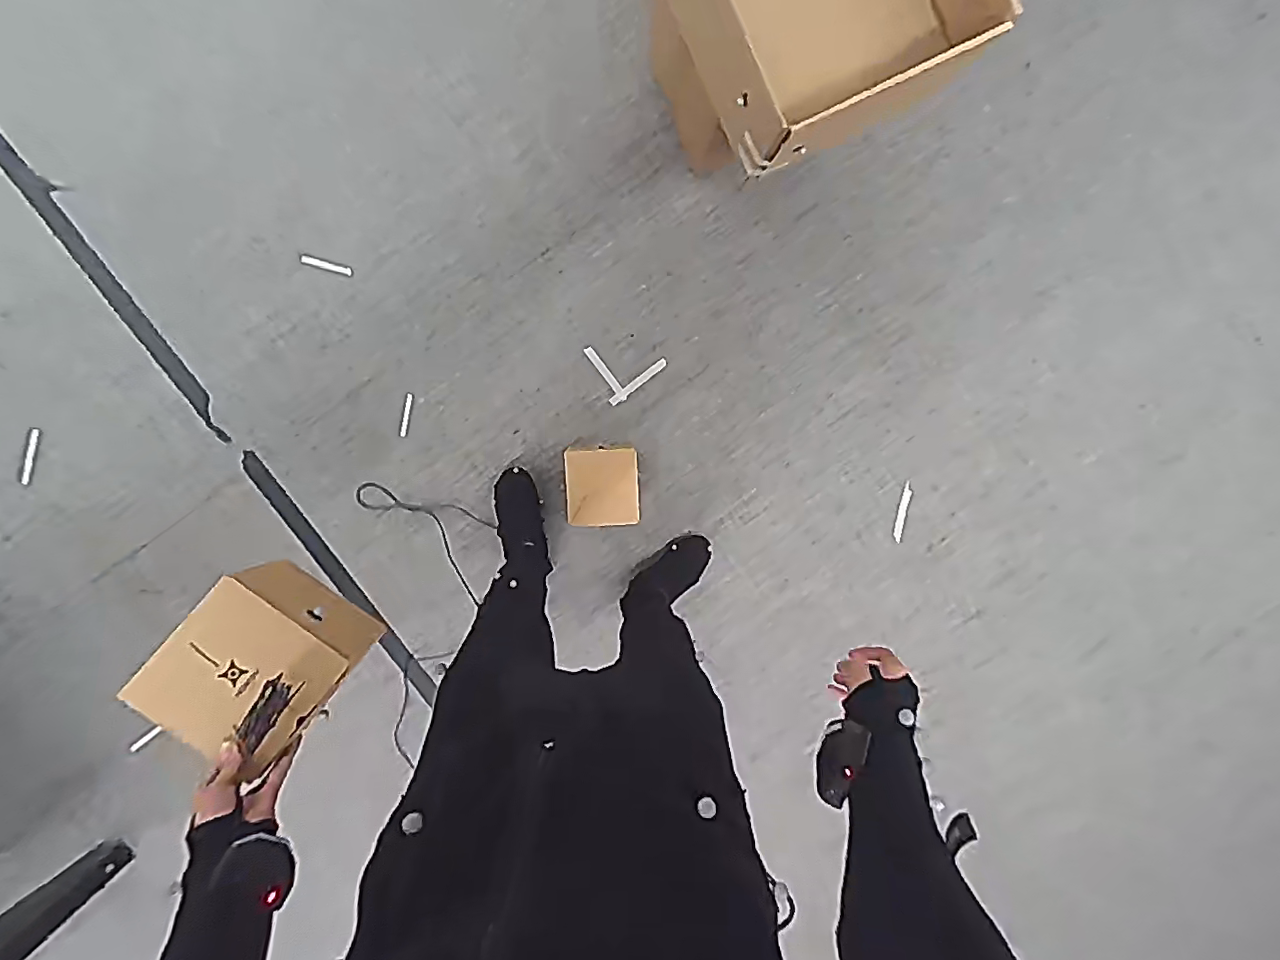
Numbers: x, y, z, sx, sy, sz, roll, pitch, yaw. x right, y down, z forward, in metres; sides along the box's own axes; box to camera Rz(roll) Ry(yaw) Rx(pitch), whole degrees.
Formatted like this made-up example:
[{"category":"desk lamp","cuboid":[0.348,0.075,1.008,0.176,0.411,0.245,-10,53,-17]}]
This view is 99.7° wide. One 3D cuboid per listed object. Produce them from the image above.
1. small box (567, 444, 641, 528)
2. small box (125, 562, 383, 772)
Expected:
[{"category":"small box","cuboid":[-0.087,0.009,1.315,0.168,0.176,0.179,-3,97,-2]},{"category":"small box","cuboid":[-0.465,0.220,0.691,0.179,0.176,0.168,39,80,-8]}]
